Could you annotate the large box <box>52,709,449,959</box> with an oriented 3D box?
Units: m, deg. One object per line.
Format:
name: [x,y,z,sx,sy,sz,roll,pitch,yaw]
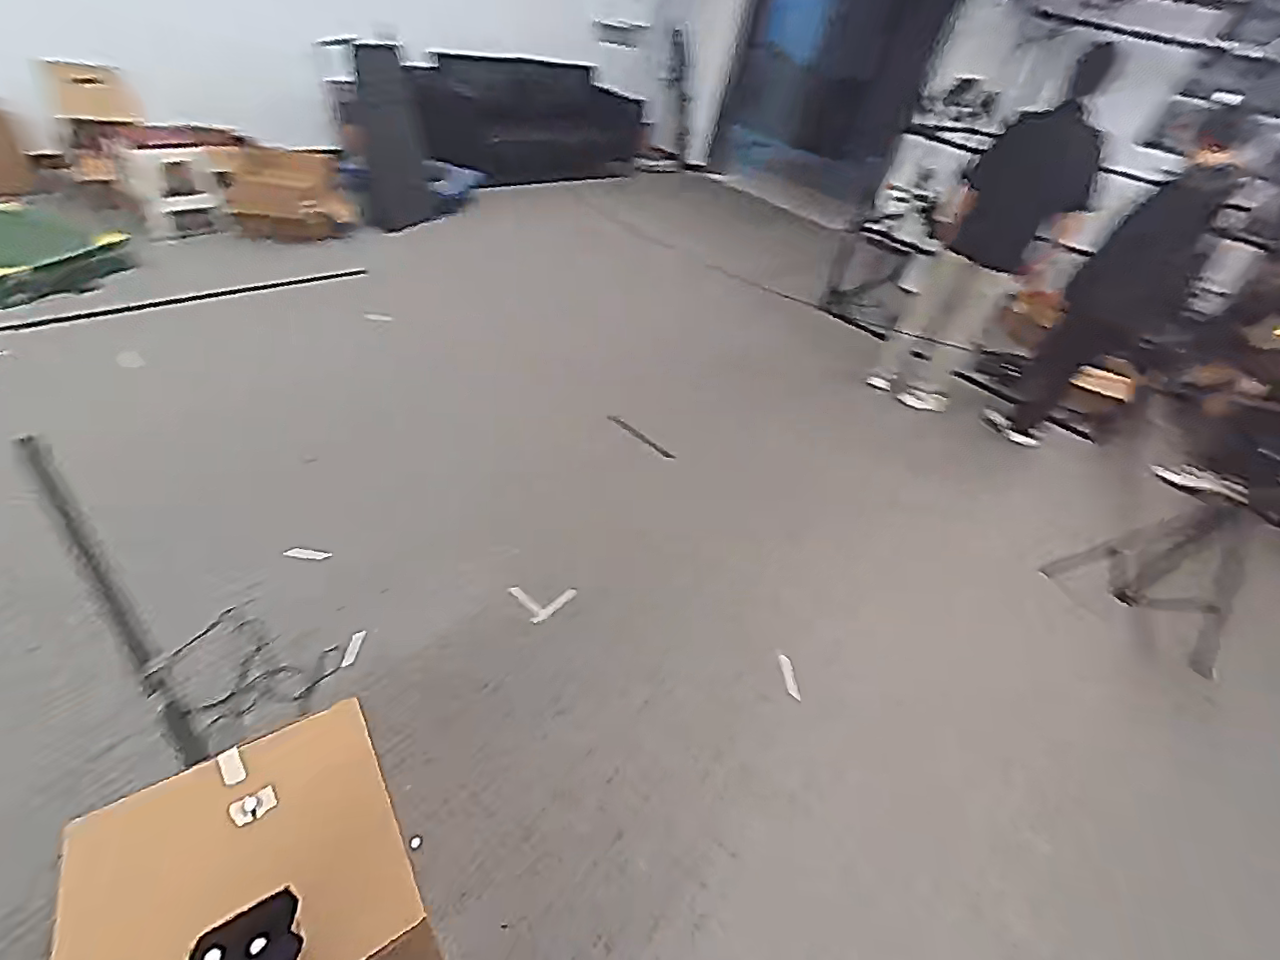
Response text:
large box: [-0.474,0.598,0.723,0.320,0.408,0.320,-20,44,-31]
